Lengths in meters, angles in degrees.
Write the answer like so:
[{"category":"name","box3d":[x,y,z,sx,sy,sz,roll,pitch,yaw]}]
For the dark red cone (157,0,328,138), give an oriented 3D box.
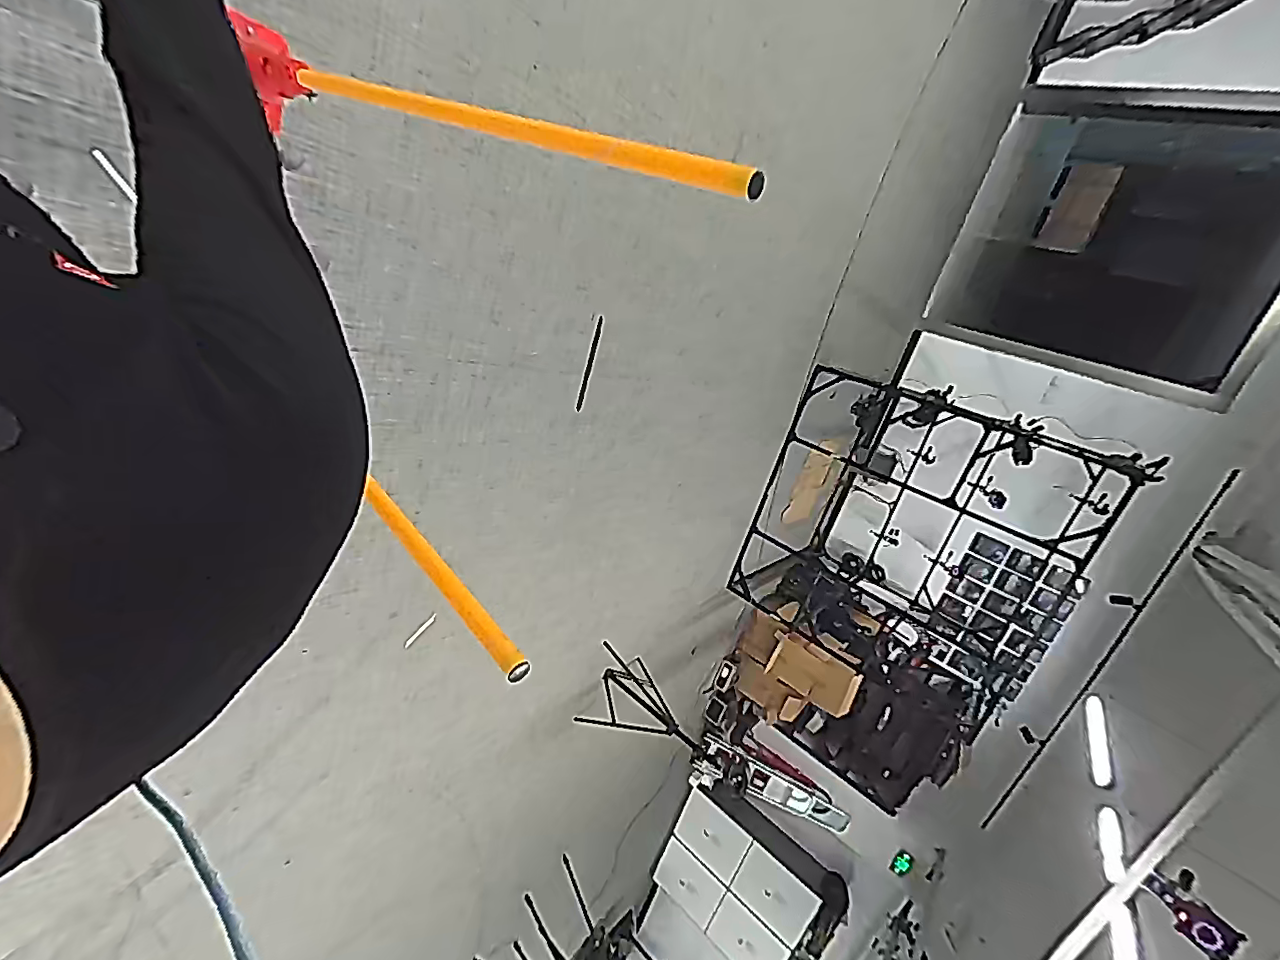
[{"category":"dark red cone","box3d":[-0.660,-0.724,0.944,0.201,0.394,0.202,-10,123,-55]}]
